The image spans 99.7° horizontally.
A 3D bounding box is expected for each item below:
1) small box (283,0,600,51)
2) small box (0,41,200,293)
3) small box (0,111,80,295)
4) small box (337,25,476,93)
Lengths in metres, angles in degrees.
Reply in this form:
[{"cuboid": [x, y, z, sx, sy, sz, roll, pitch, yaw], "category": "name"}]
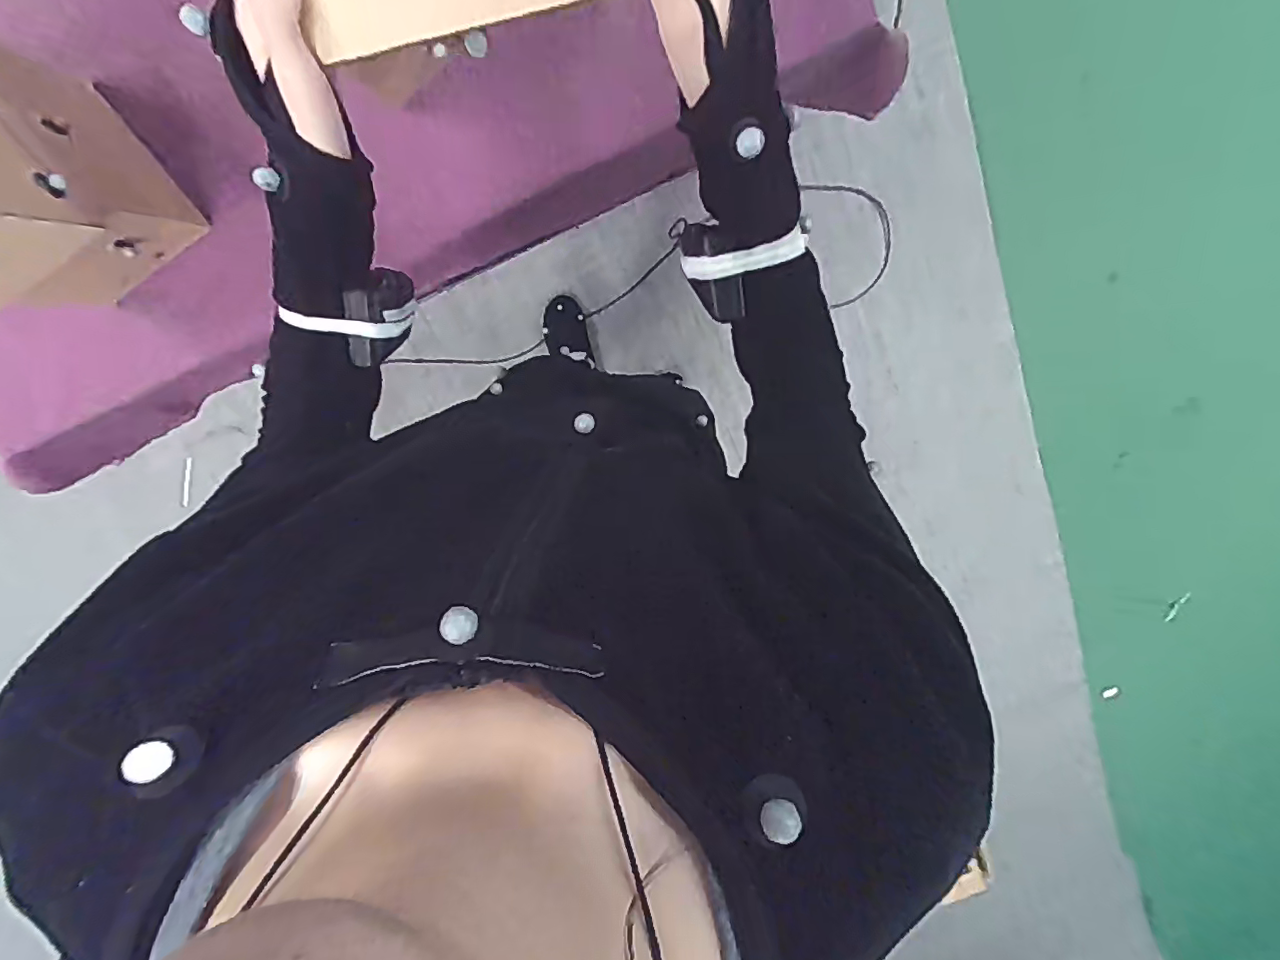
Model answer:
[{"cuboid": [-0.093, -0.337, 0.268, 0.179, 0.176, 0.168, -6, 134, 7], "category": "small box"}, {"cuboid": [-0.610, -0.306, 0.539, 0.168, 0.176, 0.179, -31, 108, 6], "category": "small box"}, {"cuboid": [-0.588, -0.228, 0.394, 0.179, 0.176, 0.168, -31, 109, 6], "category": "small box"}, {"cuboid": [-0.260, -0.507, 0.490, 0.168, 0.176, 0.179, -36, 108, 9], "category": "small box"}]
